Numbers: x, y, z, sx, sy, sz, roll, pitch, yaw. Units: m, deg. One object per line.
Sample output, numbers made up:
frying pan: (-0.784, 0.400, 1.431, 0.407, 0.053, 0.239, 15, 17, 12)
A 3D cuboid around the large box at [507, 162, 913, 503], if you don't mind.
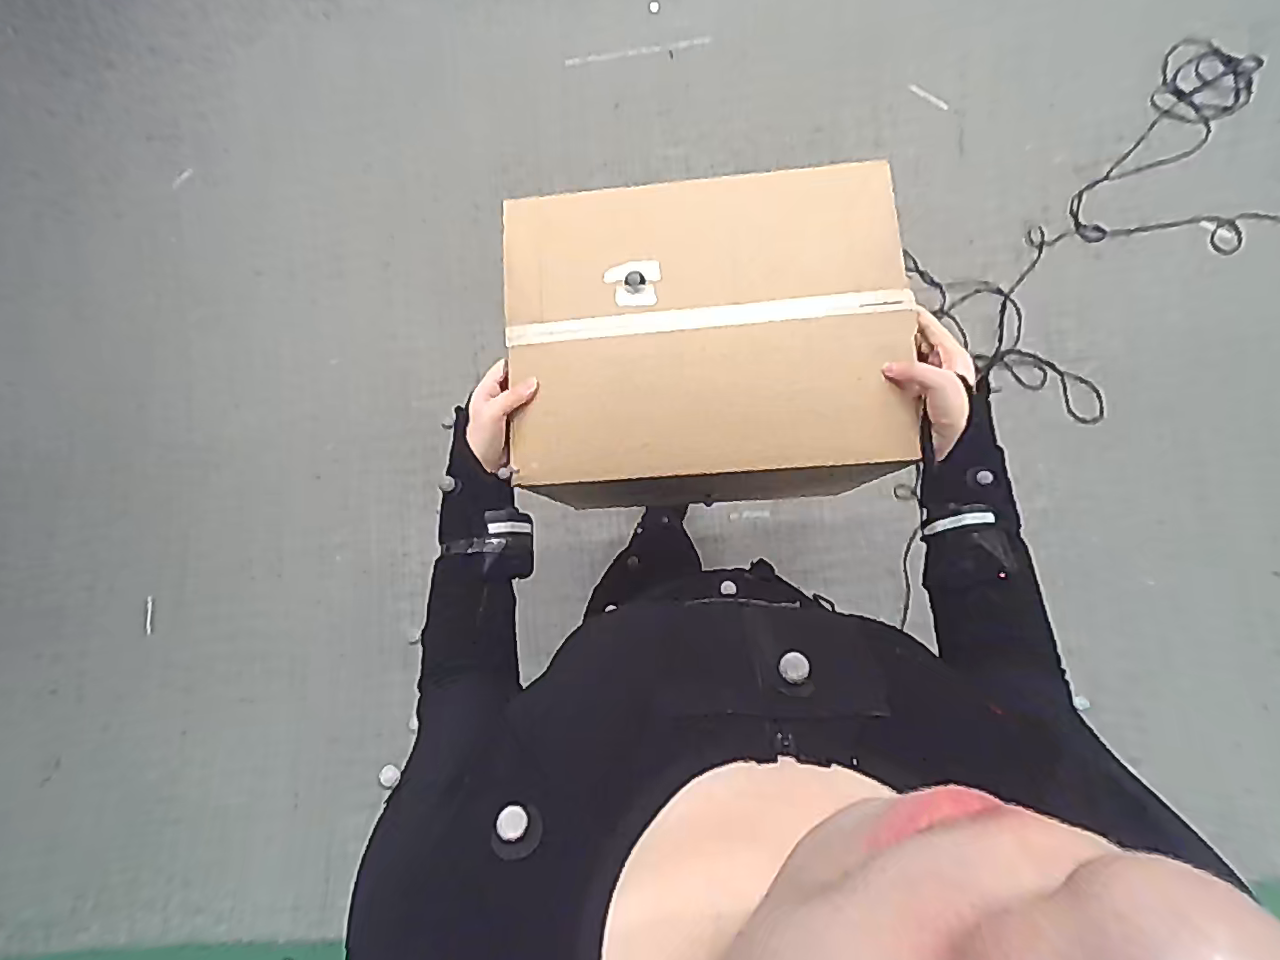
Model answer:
large box: (0.076, -0.147, 0.709, 0.408, 0.320, 0.320, -4, 81, 6)
